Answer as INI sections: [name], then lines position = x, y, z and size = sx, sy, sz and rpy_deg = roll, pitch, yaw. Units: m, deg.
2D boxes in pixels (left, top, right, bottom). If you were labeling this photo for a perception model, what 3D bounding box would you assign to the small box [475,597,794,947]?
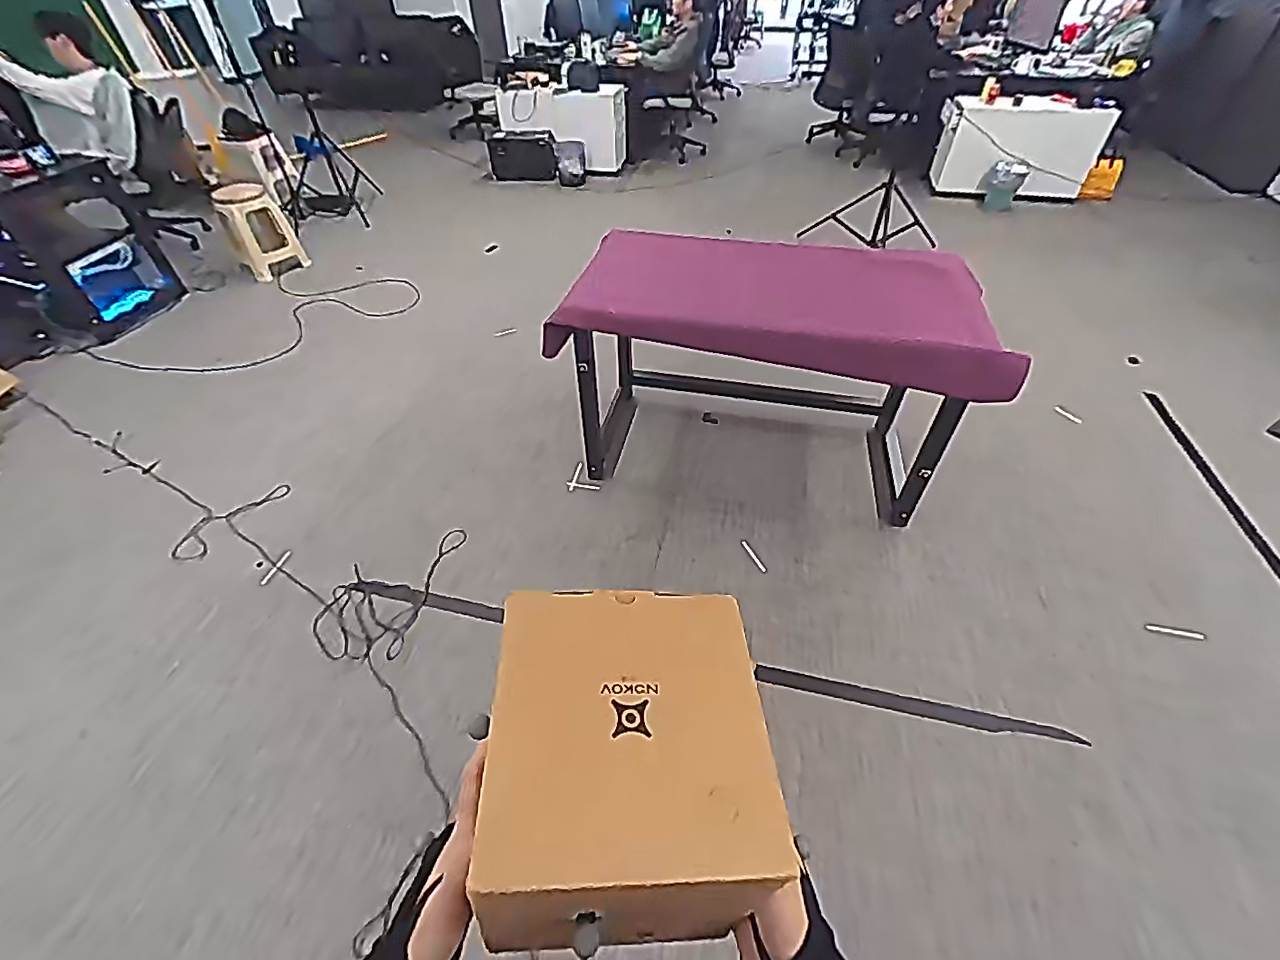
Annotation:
[small box]
position = -0.013, 0.204, 0.384
size = 0.168, 0.176, 0.179
rpy_deg = 2, 40, -8
